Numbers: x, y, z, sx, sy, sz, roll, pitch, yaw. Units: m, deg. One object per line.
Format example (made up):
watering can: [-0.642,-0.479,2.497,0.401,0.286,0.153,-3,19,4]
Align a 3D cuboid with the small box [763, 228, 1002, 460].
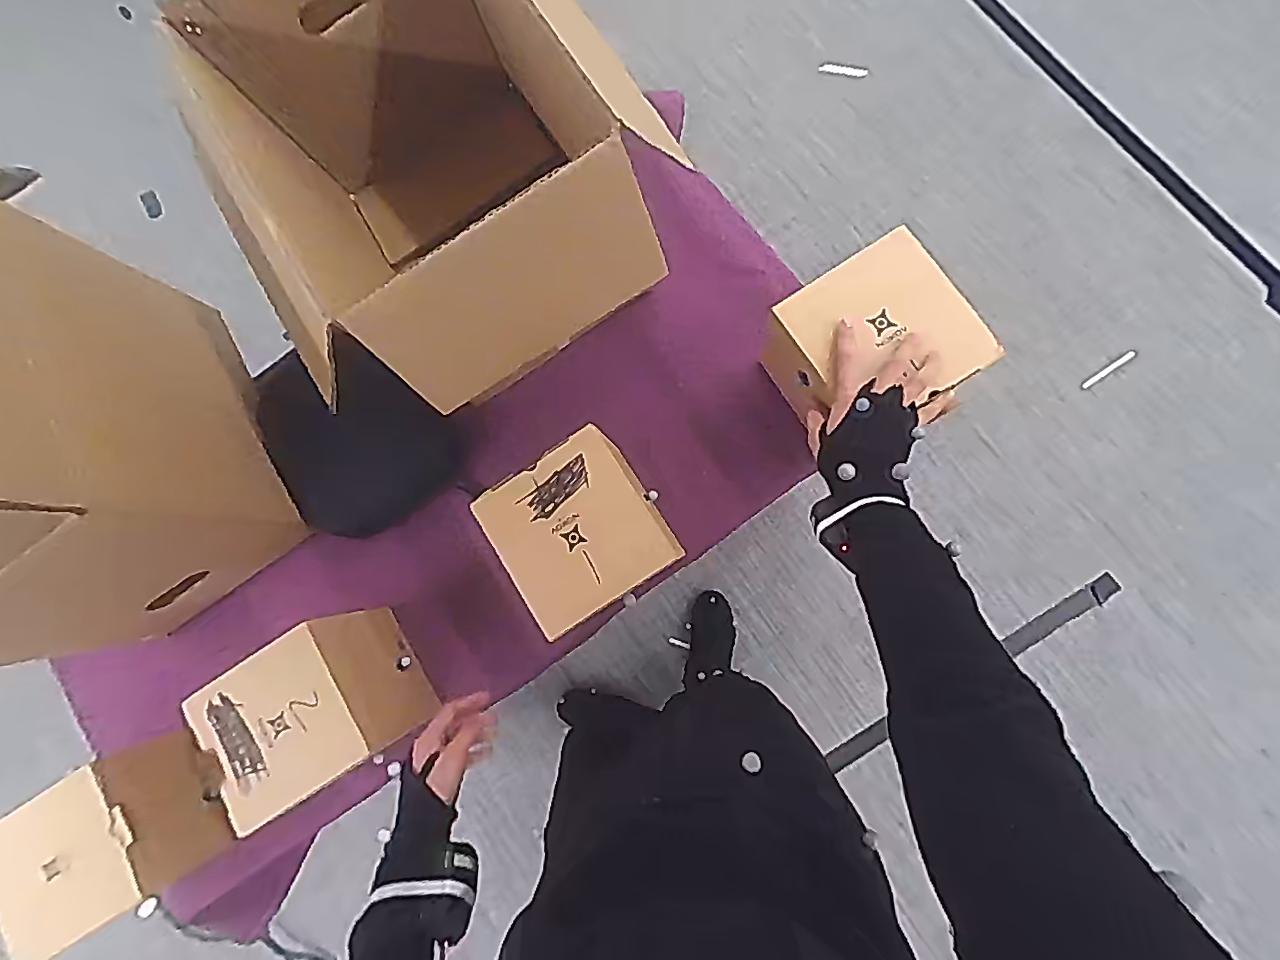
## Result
small box: [0.261,-0.143,0.637,0.168,0.176,0.179,-32,80,4]

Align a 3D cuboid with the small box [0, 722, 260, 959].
small box: [-0.644,0.445,0.688,0.179,0.176,0.168,-33,80,1]

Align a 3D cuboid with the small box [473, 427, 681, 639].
small box: [-0.064,0.065,0.657,0.168,0.176,0.179,-33,81,3]
